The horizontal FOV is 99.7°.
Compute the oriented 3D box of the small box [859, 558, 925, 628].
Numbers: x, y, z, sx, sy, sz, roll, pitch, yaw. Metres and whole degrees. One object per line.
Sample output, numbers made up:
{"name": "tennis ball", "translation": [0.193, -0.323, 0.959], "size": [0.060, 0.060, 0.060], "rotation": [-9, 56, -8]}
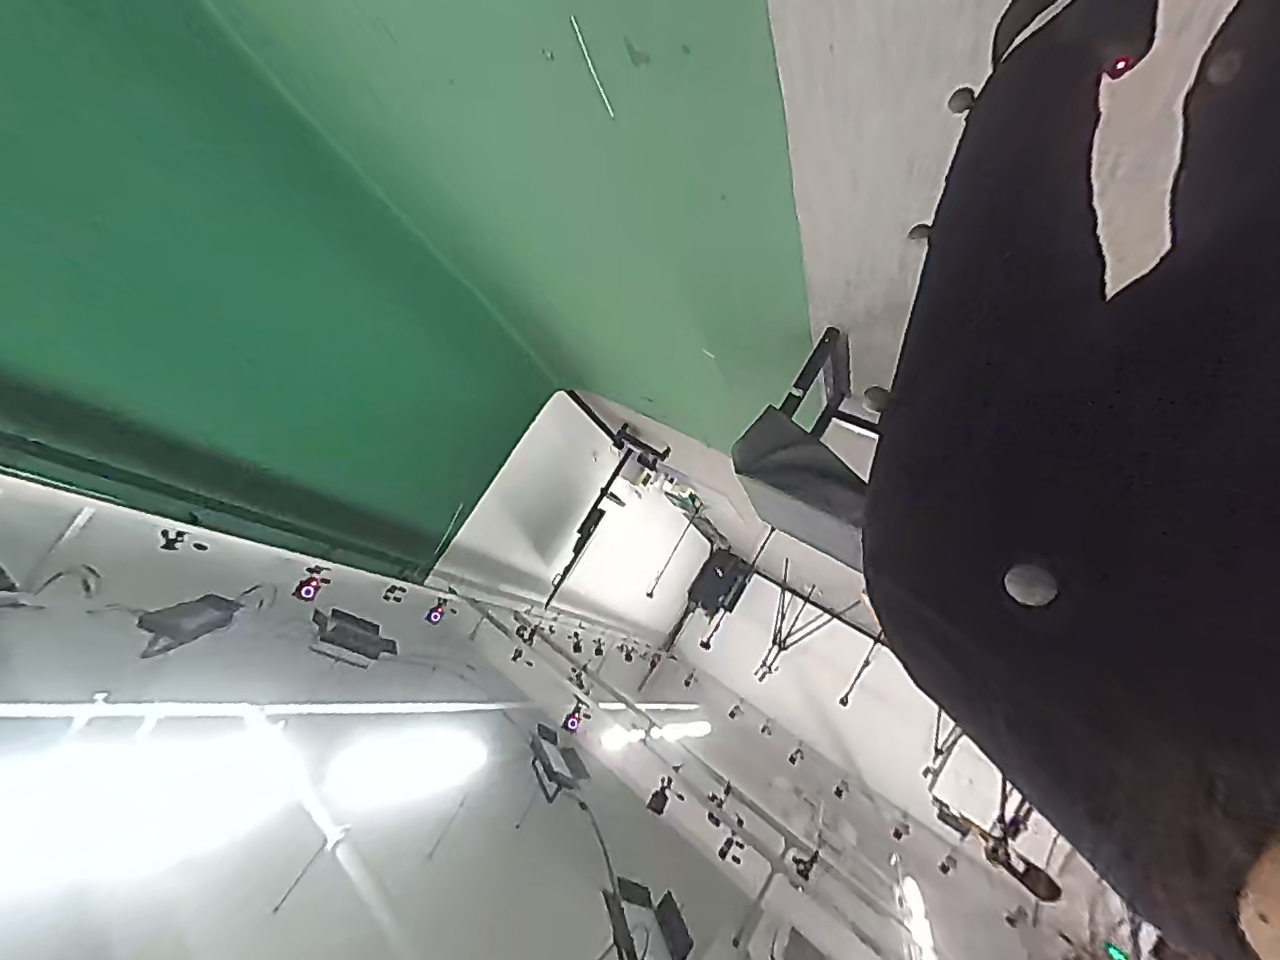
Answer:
{"name": "small box", "translation": [0.927, 0.411, 1.979], "size": [0.168, 0.176, 0.179], "rotation": [25, 169, 36]}
